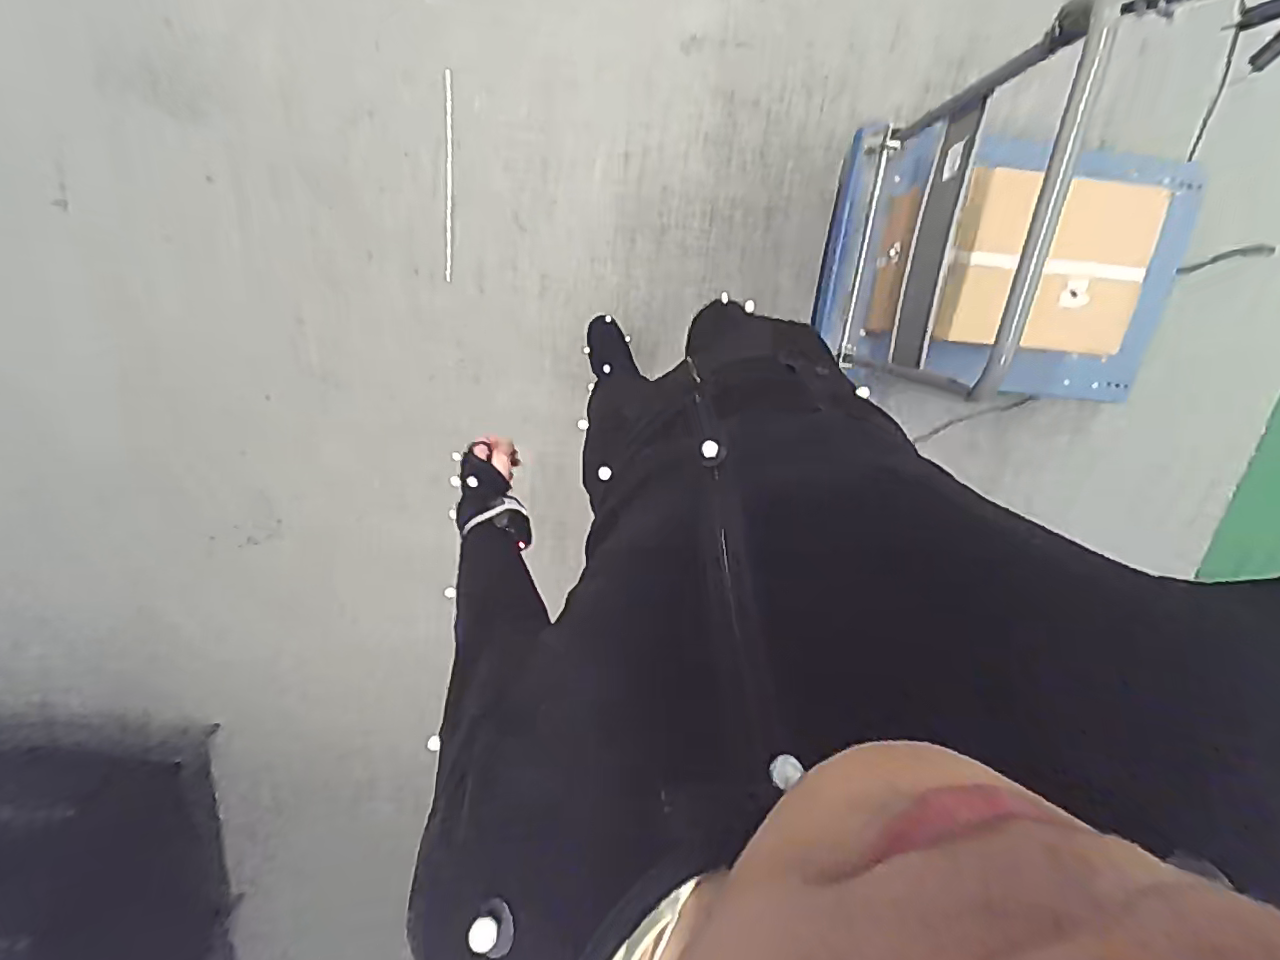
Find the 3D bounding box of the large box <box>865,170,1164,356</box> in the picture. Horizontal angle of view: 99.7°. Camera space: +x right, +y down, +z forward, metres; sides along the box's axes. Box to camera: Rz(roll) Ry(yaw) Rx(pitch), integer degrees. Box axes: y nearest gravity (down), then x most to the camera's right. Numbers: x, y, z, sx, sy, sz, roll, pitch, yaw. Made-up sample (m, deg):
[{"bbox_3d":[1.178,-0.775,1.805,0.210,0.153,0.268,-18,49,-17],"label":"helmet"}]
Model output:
[{"bbox_3d":[0.776,-0.455,1.193,0.408,0.320,0.320,4,108,-5],"label":"large box"}]
